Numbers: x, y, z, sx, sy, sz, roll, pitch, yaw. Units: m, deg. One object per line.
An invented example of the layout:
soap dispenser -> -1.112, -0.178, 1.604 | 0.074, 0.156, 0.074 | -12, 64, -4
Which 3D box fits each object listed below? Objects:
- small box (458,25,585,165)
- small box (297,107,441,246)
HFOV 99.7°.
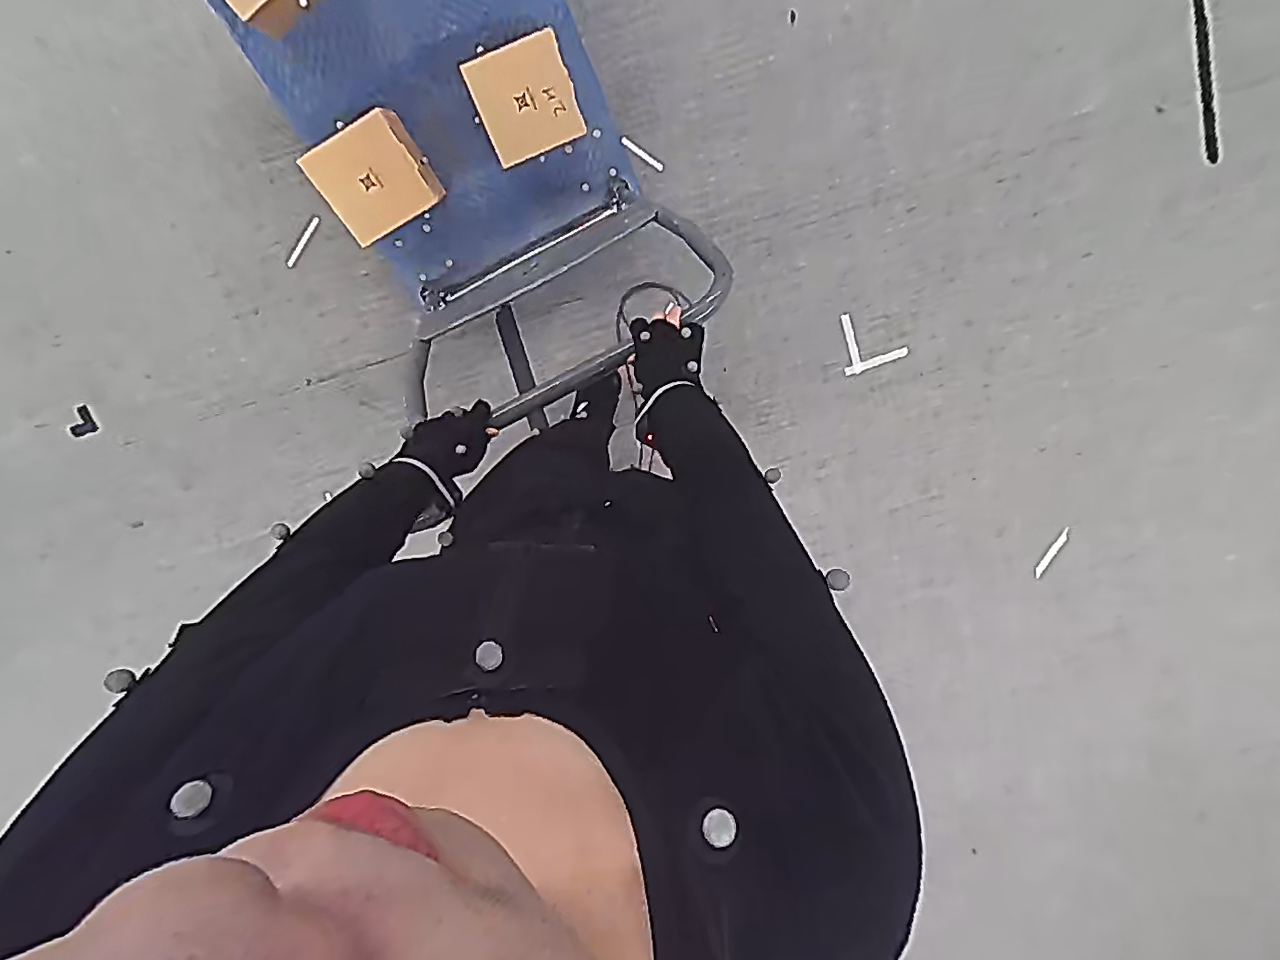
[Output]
small box -> -0.221, -0.720, 1.029 | 0.179, 0.176, 0.168 | -23, 124, 1
small box -> -0.507, -0.581, 1.043 | 0.179, 0.176, 0.168 | -31, 123, 3
